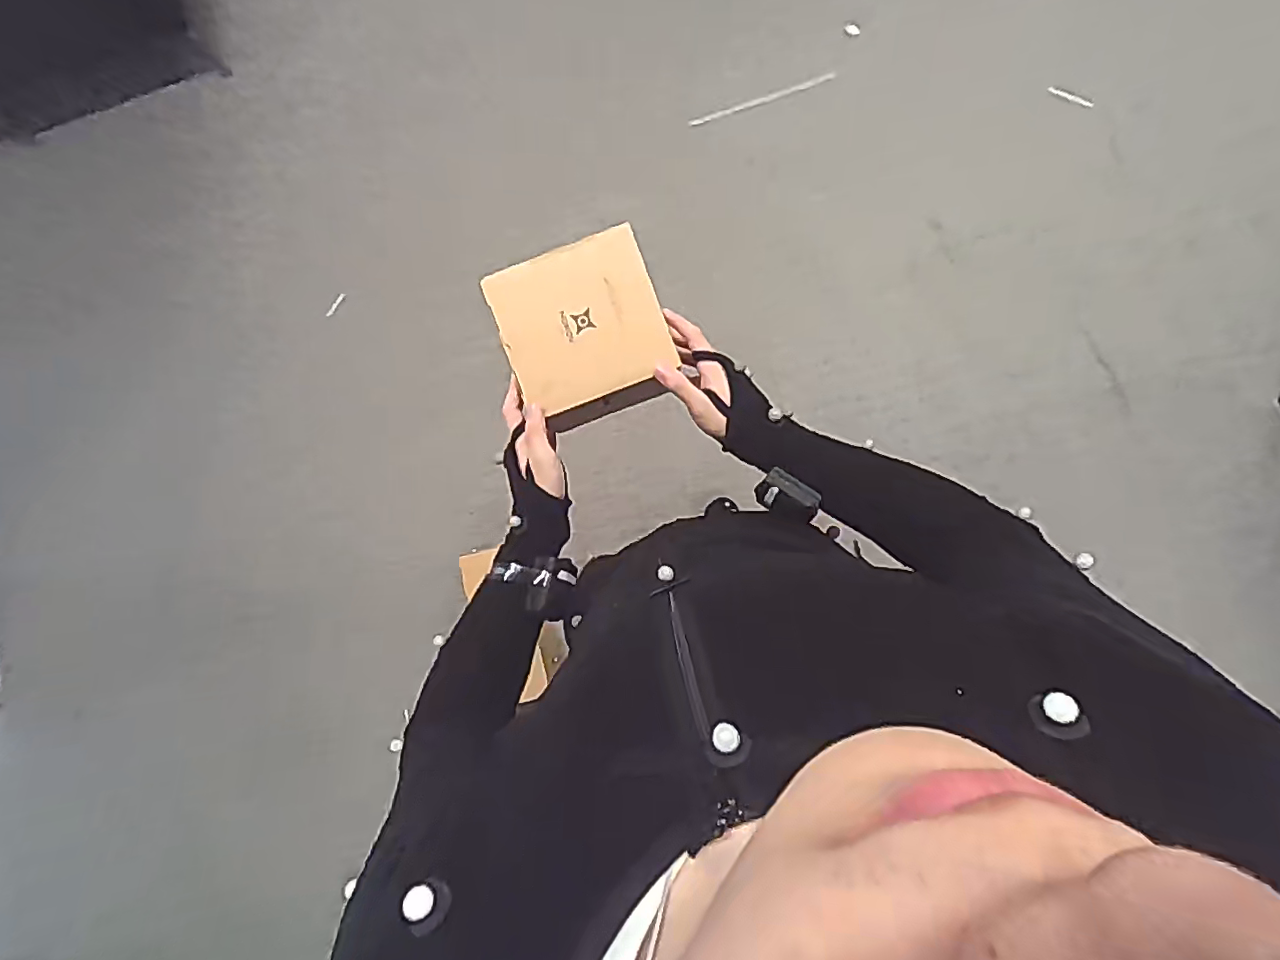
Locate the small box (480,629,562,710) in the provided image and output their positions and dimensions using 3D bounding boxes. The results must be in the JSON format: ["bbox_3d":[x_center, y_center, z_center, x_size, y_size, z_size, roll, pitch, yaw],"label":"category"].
[{"bbox_3d":[-0.333,0.541,1.565,0.179,0.176,0.168,-16,83,5],"label":"small box"}]

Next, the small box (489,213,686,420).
[{"bbox_3d":[-0.052,-0.178,0.651,0.179,0.176,0.168,-19,91,2],"label":"small box"}]

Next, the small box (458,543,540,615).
[{"bbox_3d":[-0.406,0.285,1.599,0.179,0.176,0.168,-16,84,5],"label":"small box"}]
